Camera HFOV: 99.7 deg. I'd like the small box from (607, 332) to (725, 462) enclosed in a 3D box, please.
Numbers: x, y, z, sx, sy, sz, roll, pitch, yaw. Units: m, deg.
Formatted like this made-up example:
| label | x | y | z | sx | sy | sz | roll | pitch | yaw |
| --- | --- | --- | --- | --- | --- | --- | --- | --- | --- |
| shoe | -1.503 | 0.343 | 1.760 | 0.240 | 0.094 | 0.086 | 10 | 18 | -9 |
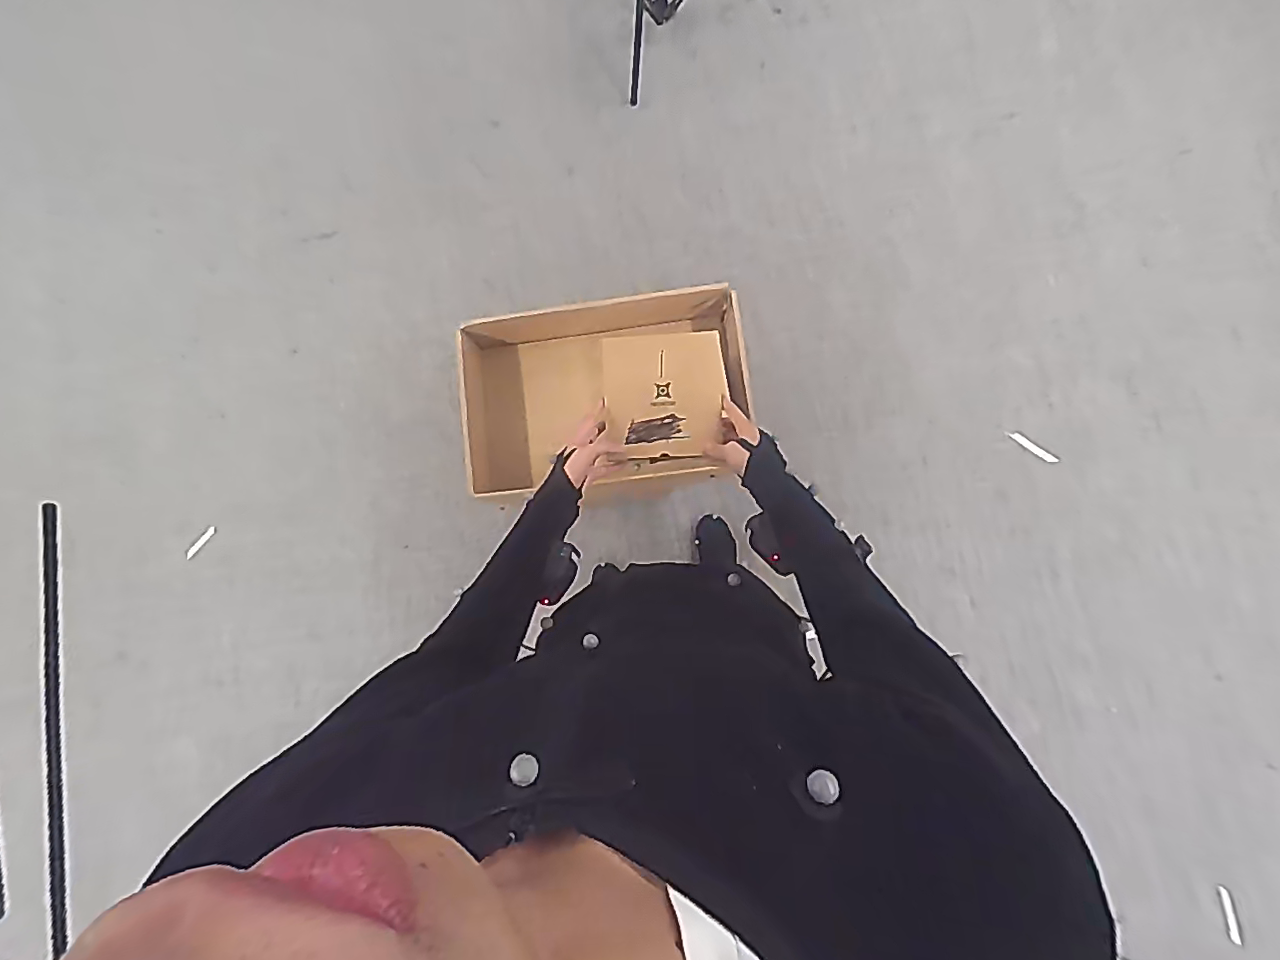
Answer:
| label | x | y | z | sx | sy | sz | roll | pitch | yaw |
| --- | --- | --- | --- | --- | --- | --- | --- | --- | --- |
| small box | 0.044 | -0.119 | 0.831 | 0.168 | 0.176 | 0.179 | -2 | 91 | 4 |
